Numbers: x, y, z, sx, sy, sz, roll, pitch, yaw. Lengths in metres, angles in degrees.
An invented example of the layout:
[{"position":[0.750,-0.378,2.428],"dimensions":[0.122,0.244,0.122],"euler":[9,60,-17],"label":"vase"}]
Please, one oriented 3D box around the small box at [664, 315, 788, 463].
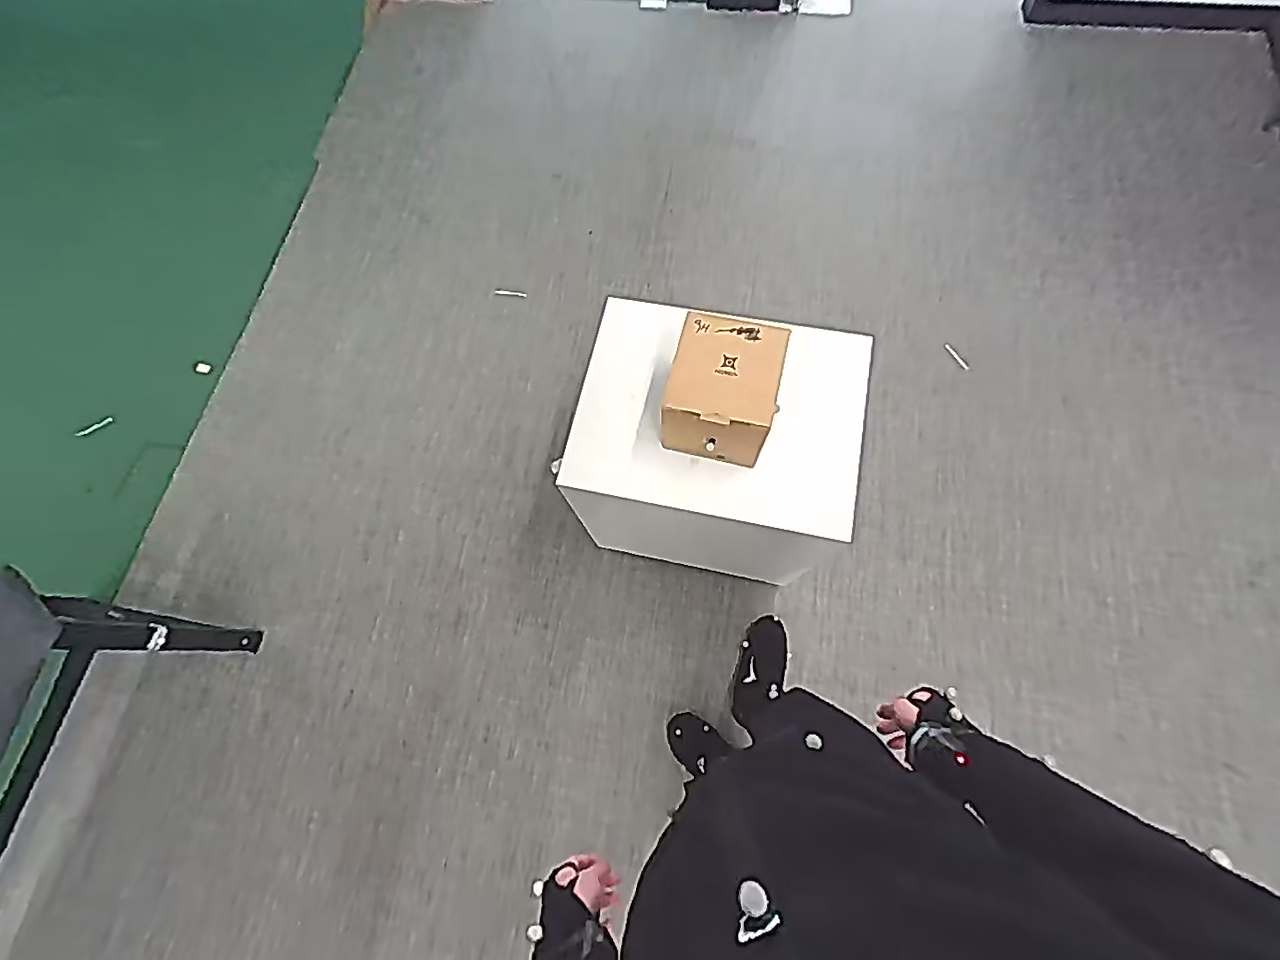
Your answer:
[{"position":[0.140,-0.143,0.902],"dimensions":[0.168,0.176,0.179],"euler":[11,72,8],"label":"small box"}]
